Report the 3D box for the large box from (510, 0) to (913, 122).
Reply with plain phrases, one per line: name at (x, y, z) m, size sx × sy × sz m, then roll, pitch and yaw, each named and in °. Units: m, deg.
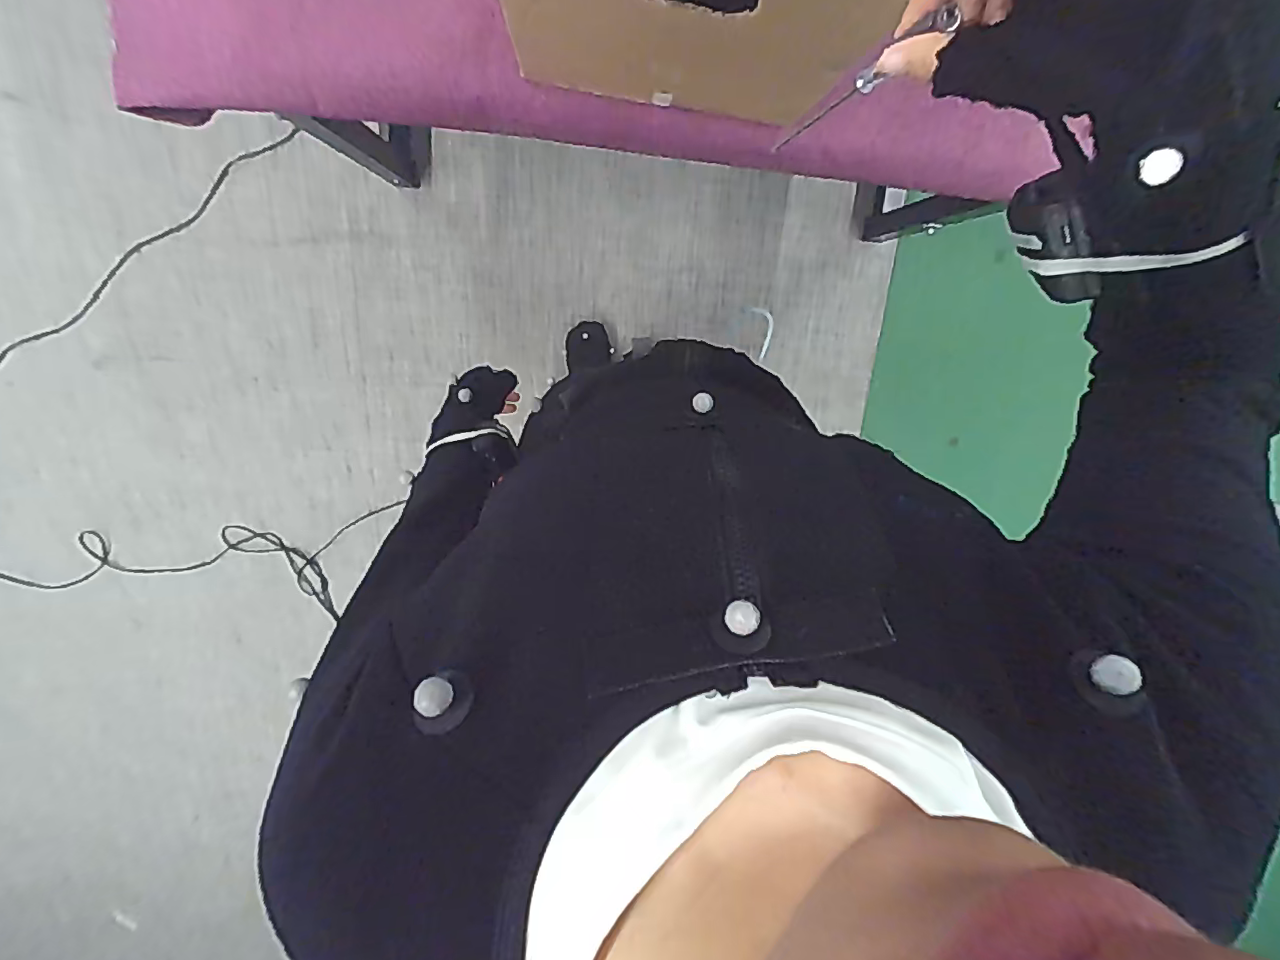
large box at (0.061, -0.580, 0.425) m, size 0.320 × 0.320 × 0.408 m, roll 6°, pitch 107°, yaw -6°
